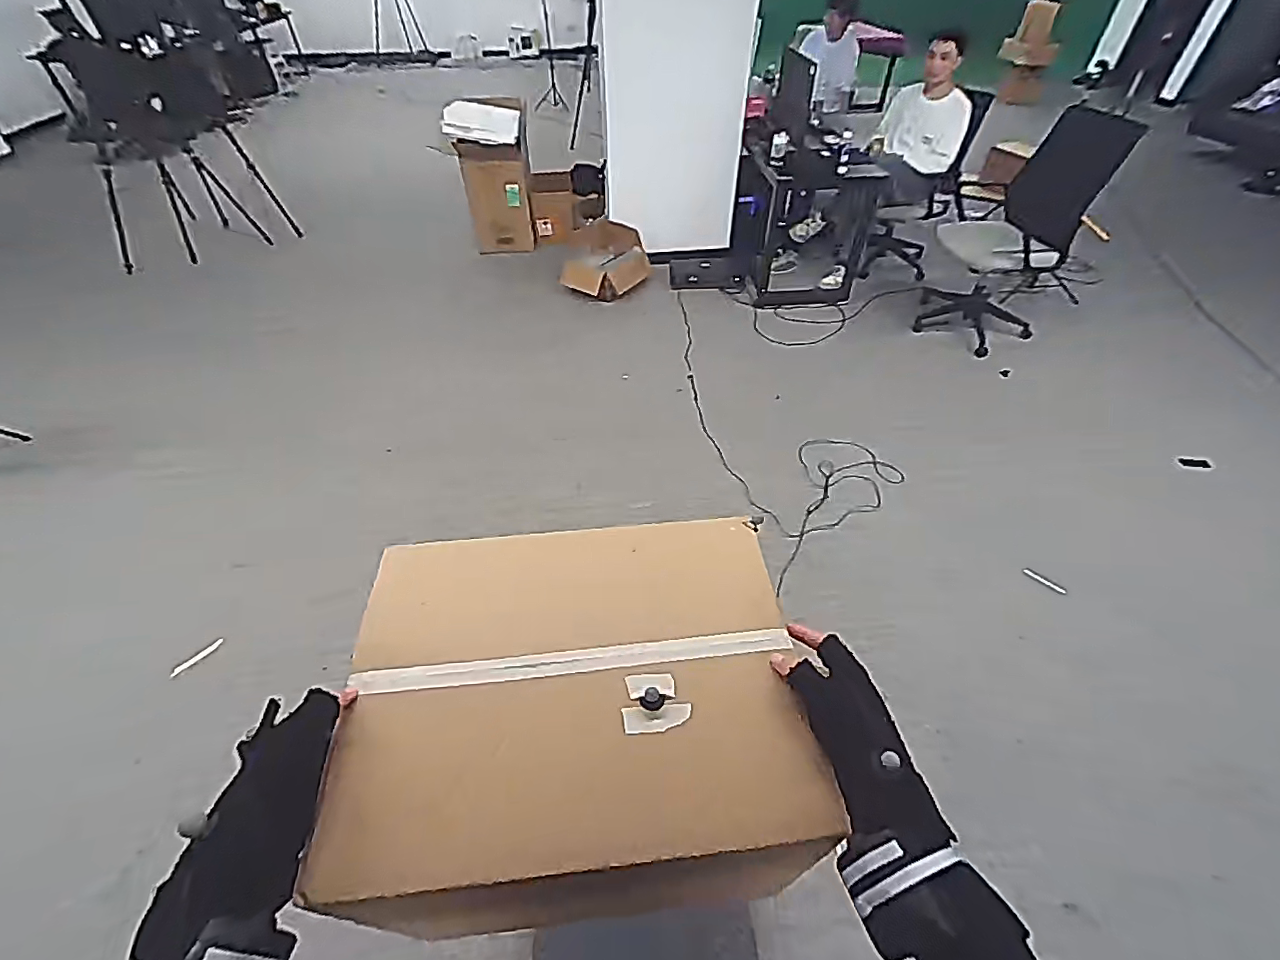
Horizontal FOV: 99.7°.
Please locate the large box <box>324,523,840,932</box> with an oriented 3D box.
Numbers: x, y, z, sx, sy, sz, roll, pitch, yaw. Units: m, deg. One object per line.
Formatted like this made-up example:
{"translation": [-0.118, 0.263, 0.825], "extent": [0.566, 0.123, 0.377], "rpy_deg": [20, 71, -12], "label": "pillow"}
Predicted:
{"translation": [-0.054, 0.277, 0.618], "extent": [0.408, 0.320, 0.320], "rpy_deg": [-4, 46, -4], "label": "large box"}
